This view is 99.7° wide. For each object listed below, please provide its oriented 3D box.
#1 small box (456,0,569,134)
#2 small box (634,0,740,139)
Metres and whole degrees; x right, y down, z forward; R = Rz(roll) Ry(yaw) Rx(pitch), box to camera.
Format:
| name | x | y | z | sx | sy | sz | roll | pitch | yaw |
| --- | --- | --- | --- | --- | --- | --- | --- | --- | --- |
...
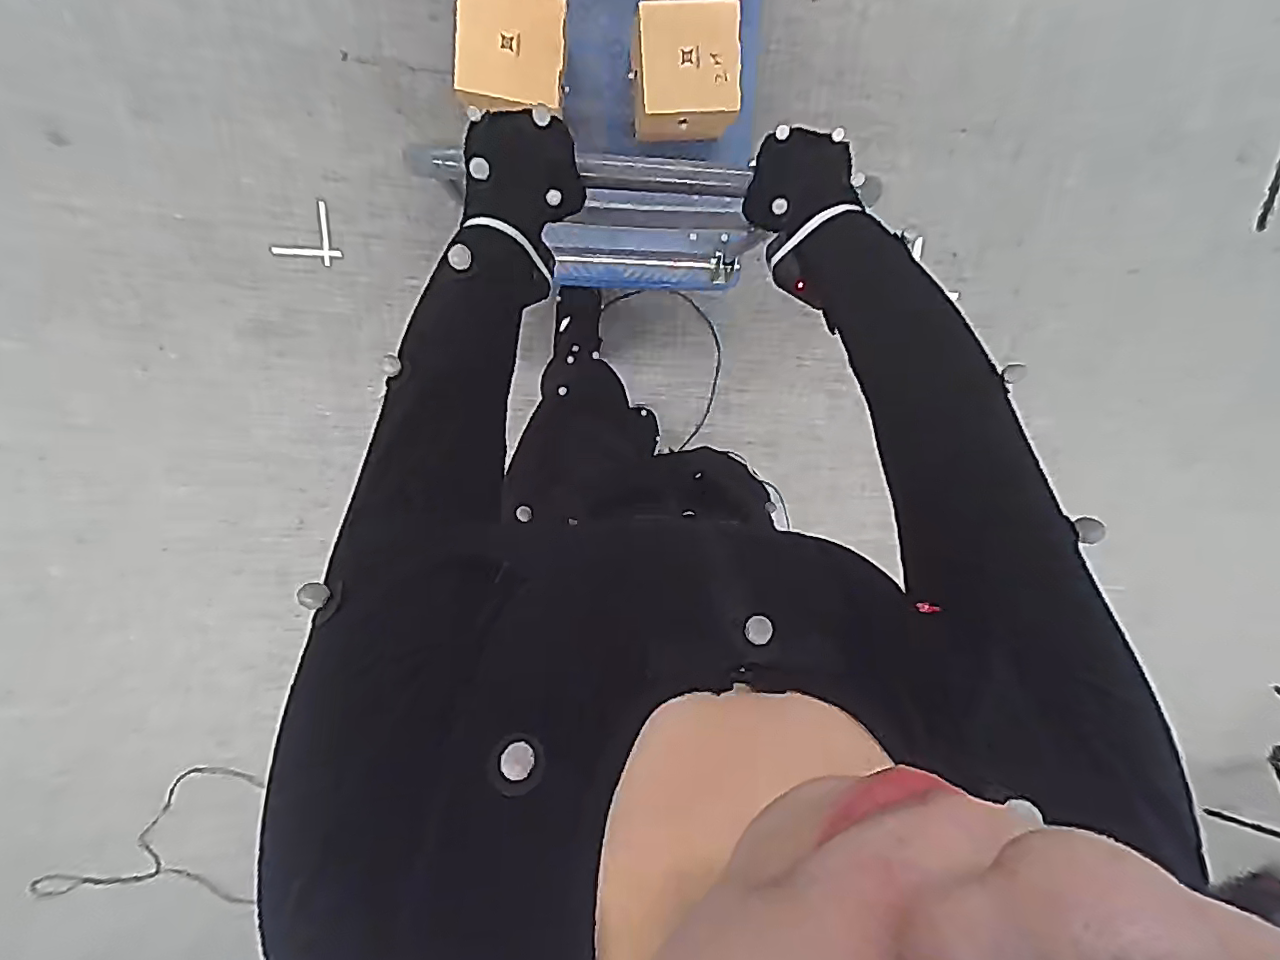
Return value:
| name | x | y | z | sx | sy | sz | roll | pitch | yaw |
| --- | --- | --- | --- | --- | --- | --- | --- | --- | --- |
| small box | -0.224 | -0.753 | 0.978 | 0.179 | 0.176 | 0.168 | 5 | 106 | -10 |
| small box | 0.081 | -0.756 | 1.012 | 0.179 | 0.176 | 0.168 | -5 | 108 | -5 |
